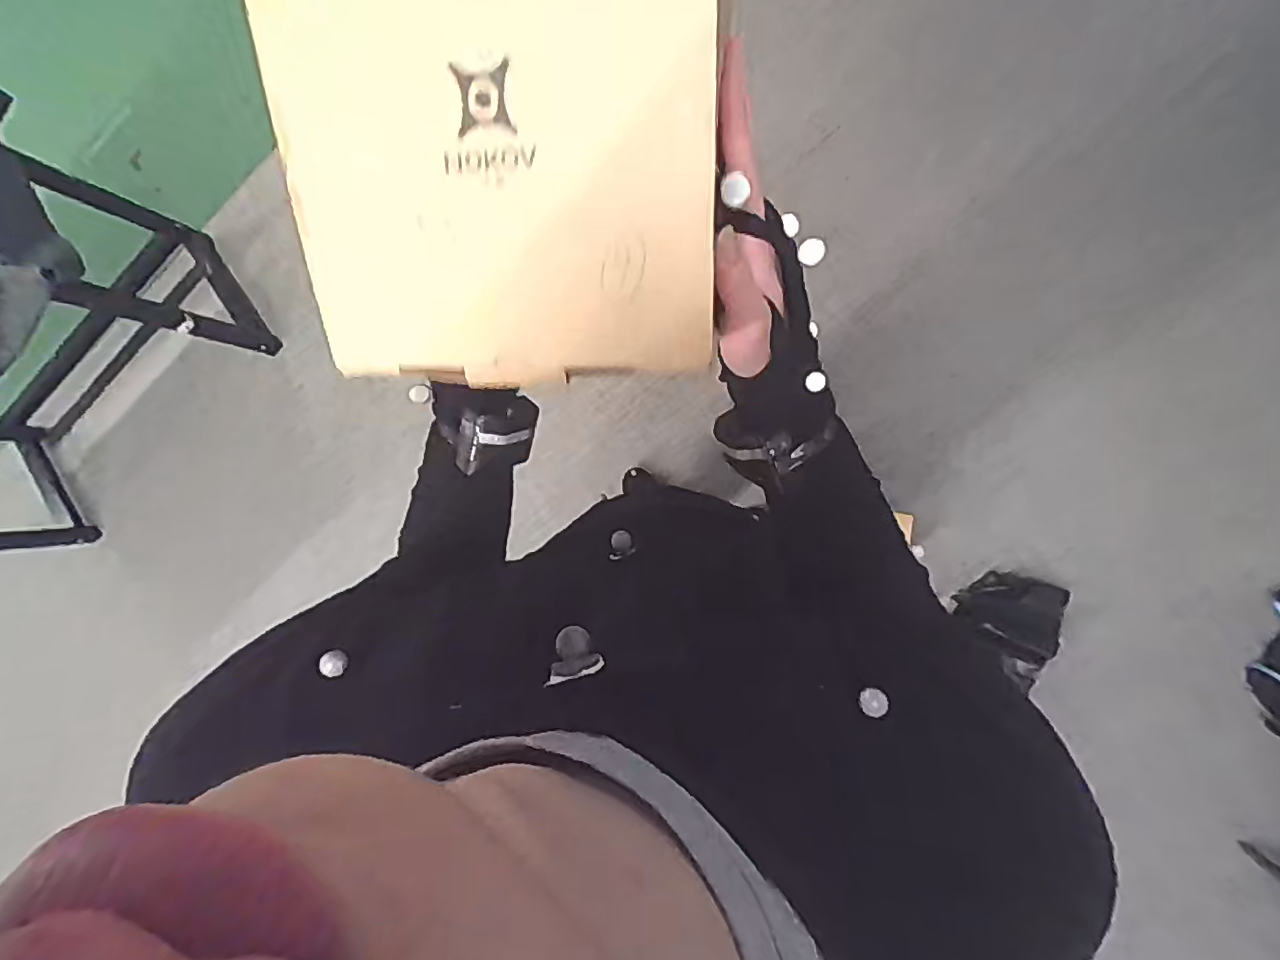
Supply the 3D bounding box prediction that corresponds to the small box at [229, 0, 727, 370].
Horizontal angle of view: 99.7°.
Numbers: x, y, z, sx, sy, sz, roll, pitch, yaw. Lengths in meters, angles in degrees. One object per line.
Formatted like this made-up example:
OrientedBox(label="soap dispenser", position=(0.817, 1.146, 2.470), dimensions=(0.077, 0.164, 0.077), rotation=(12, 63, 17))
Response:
OrientedBox(label="small box", position=(-0.044, -0.156, 0.258), dimensions=(0.168, 0.176, 0.179), rotation=(1, 112, 7))
